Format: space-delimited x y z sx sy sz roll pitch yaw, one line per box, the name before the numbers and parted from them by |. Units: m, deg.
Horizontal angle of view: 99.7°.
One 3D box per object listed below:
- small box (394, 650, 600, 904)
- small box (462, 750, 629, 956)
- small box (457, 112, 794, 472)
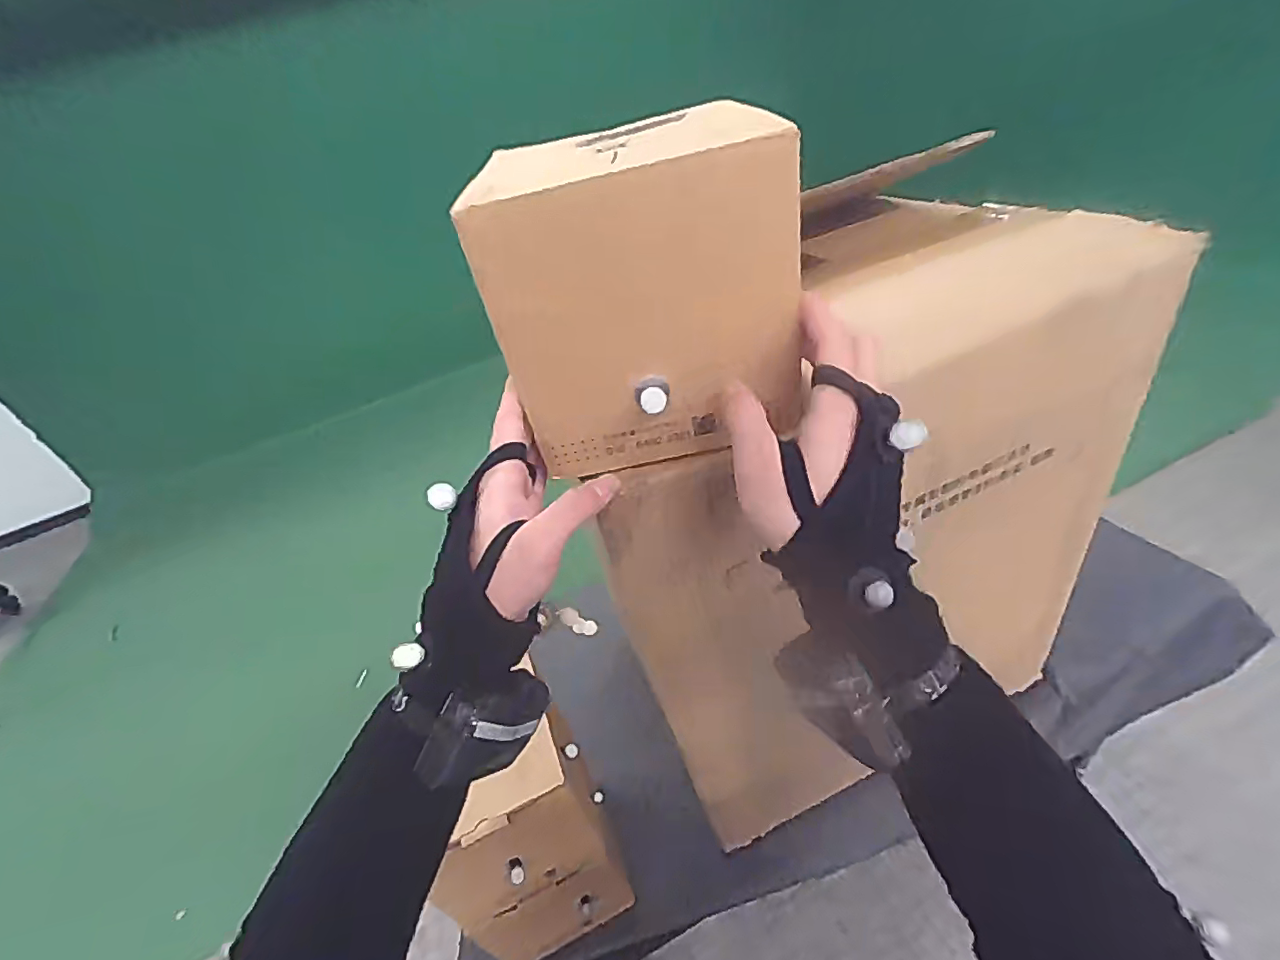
small box | -0.159 0.338 0.613 0.168 0.176 0.179 -22 37 -12
small box | -0.128 0.471 0.703 0.168 0.176 0.179 -22 35 -13
small box | 0.000 -0.130 0.370 0.168 0.176 0.179 -11 38 4
